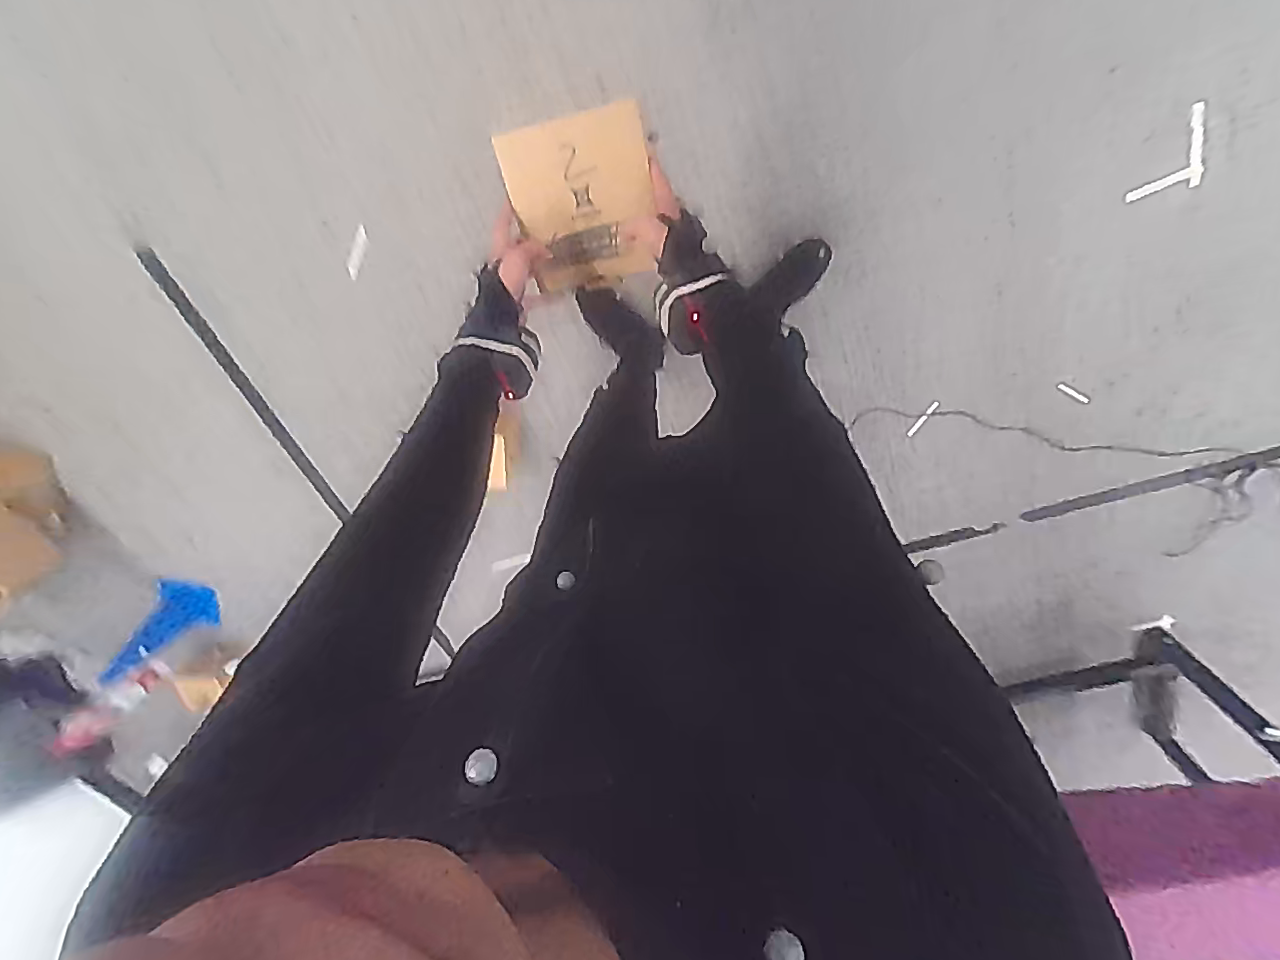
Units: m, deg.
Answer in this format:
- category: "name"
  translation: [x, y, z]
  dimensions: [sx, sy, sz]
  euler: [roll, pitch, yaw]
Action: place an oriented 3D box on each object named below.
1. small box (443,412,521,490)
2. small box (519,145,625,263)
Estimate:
- category: "small box"
  translation: [-0.440, -0.086, 1.538]
  dimensions: [0.179, 0.176, 0.168]
  euler: [4, 119, 0]
- category: "small box"
  translation: [-0.148, -0.626, 1.234]
  dimensions: [0.168, 0.176, 0.179]
  euler: [-28, 115, 16]
